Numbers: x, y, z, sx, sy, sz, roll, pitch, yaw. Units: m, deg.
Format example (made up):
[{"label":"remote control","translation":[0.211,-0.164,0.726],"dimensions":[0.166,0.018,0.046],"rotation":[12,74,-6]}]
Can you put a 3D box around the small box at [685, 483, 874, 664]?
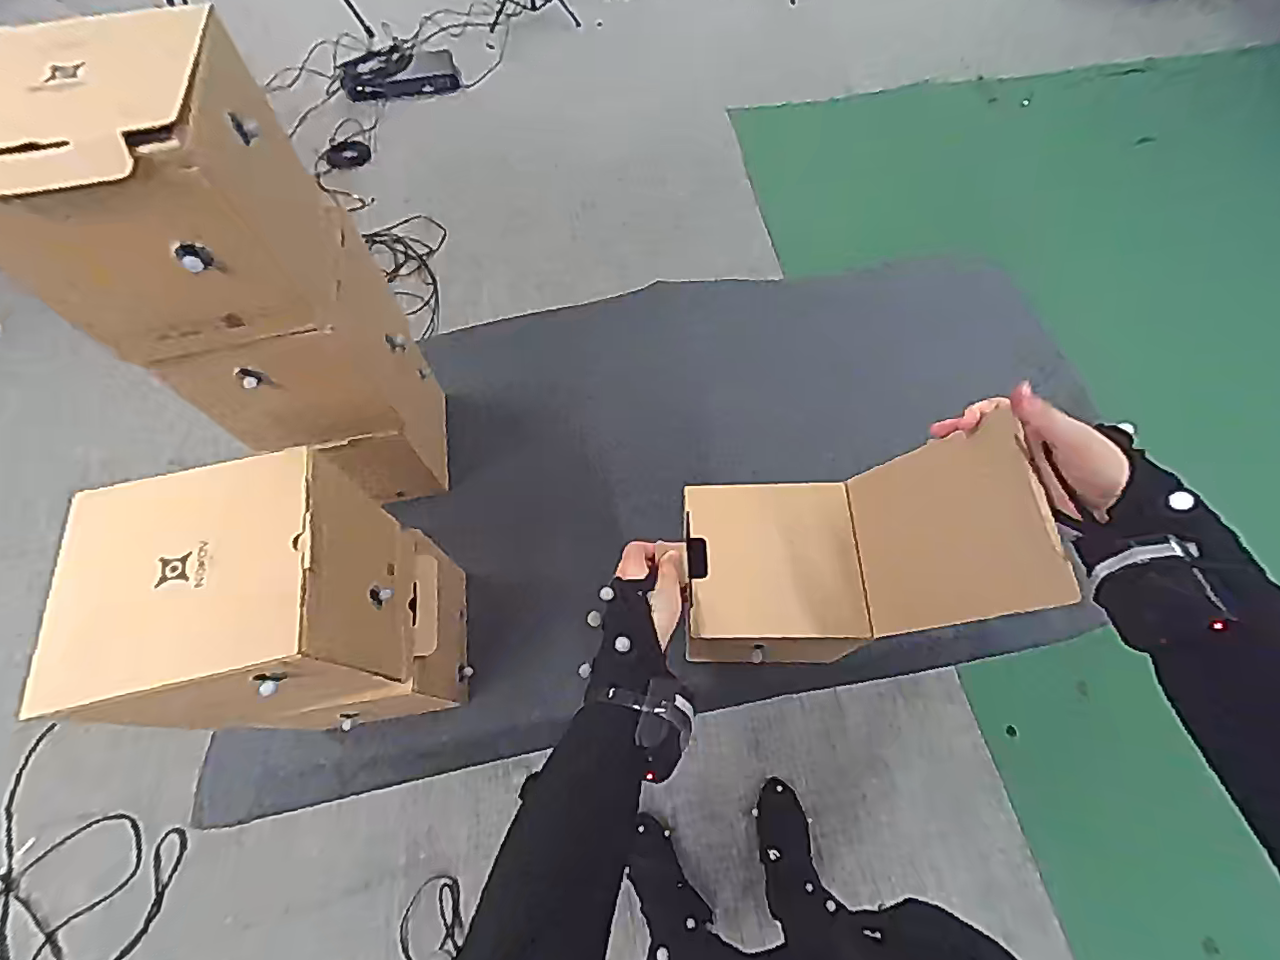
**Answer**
[{"label":"small box","translation":[0.142,0.113,0.612],"dimensions":[0.179,0.176,0.168],"rotation":[-1,65,5]}]

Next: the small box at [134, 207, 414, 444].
[{"label":"small box","translation":[-0.363,-0.154,0.576],"dimensions":[0.179,0.176,0.168],"rotation":[-9,65,-4]}]

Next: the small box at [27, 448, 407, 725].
[{"label":"small box","translation":[-0.319,0.099,0.454],"dimensions":[0.179,0.176,0.168],"rotation":[-13,64,-5]}]

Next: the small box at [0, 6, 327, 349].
[{"label":"small box","translation":[-0.373,-0.223,0.429],"dimensions":[0.168,0.176,0.179],"rotation":[-13,64,-6]}]

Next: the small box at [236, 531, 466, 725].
[{"label":"small box","translation":[-0.300,0.170,0.599],"dimensions":[0.179,0.176,0.168],"rotation":[-9,64,-2]}]
